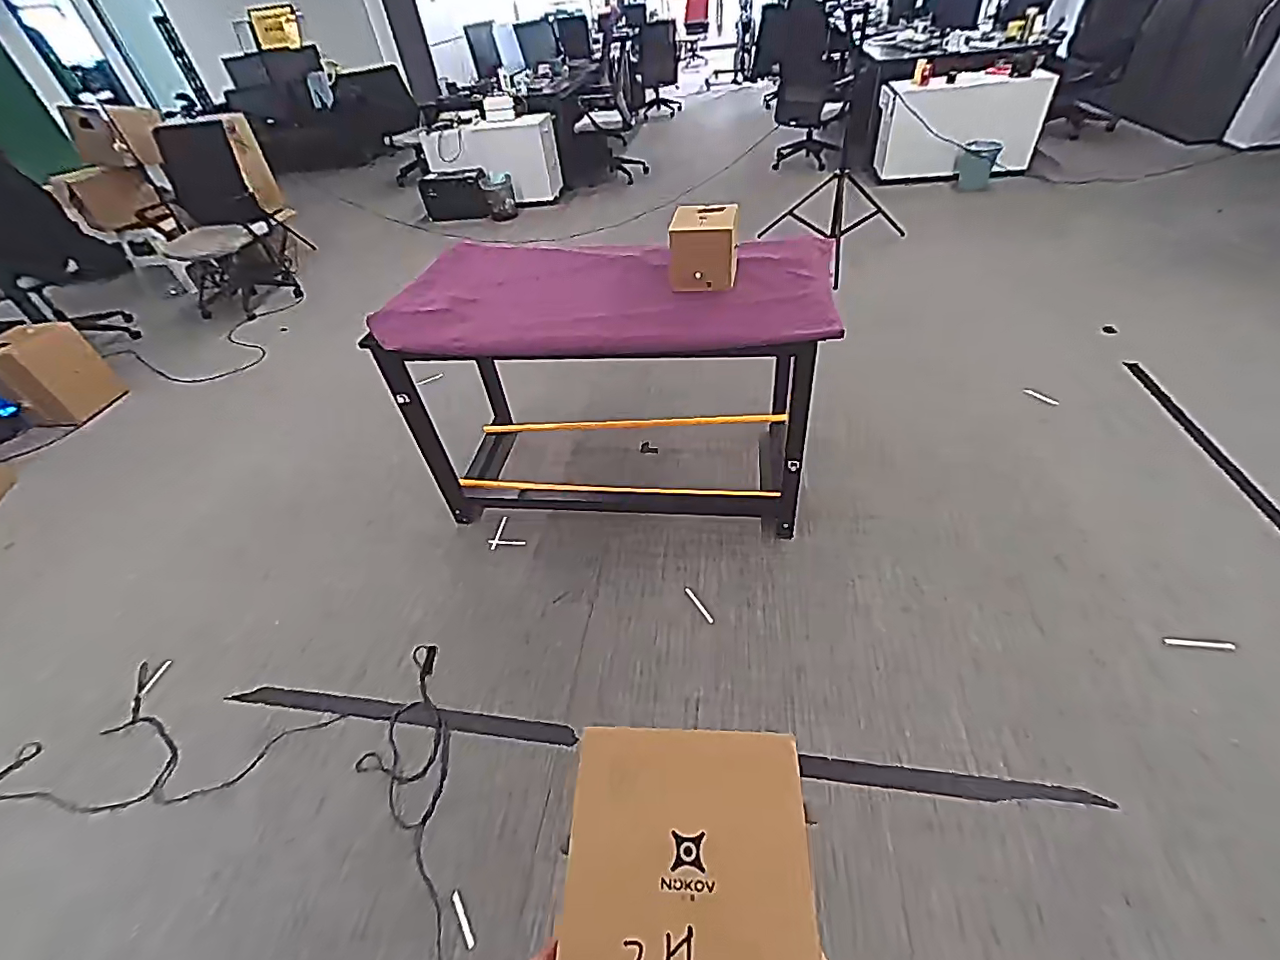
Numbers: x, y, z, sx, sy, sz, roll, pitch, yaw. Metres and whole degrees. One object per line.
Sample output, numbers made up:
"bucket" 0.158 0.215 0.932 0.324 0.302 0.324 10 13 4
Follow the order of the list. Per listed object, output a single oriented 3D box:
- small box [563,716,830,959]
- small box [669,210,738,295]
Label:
"small box" 0.045 0.305 0.424 0.168 0.176 0.179 -1 50 7
"small box" 0.176 -0.623 1.480 0.168 0.176 0.179 4 45 13
